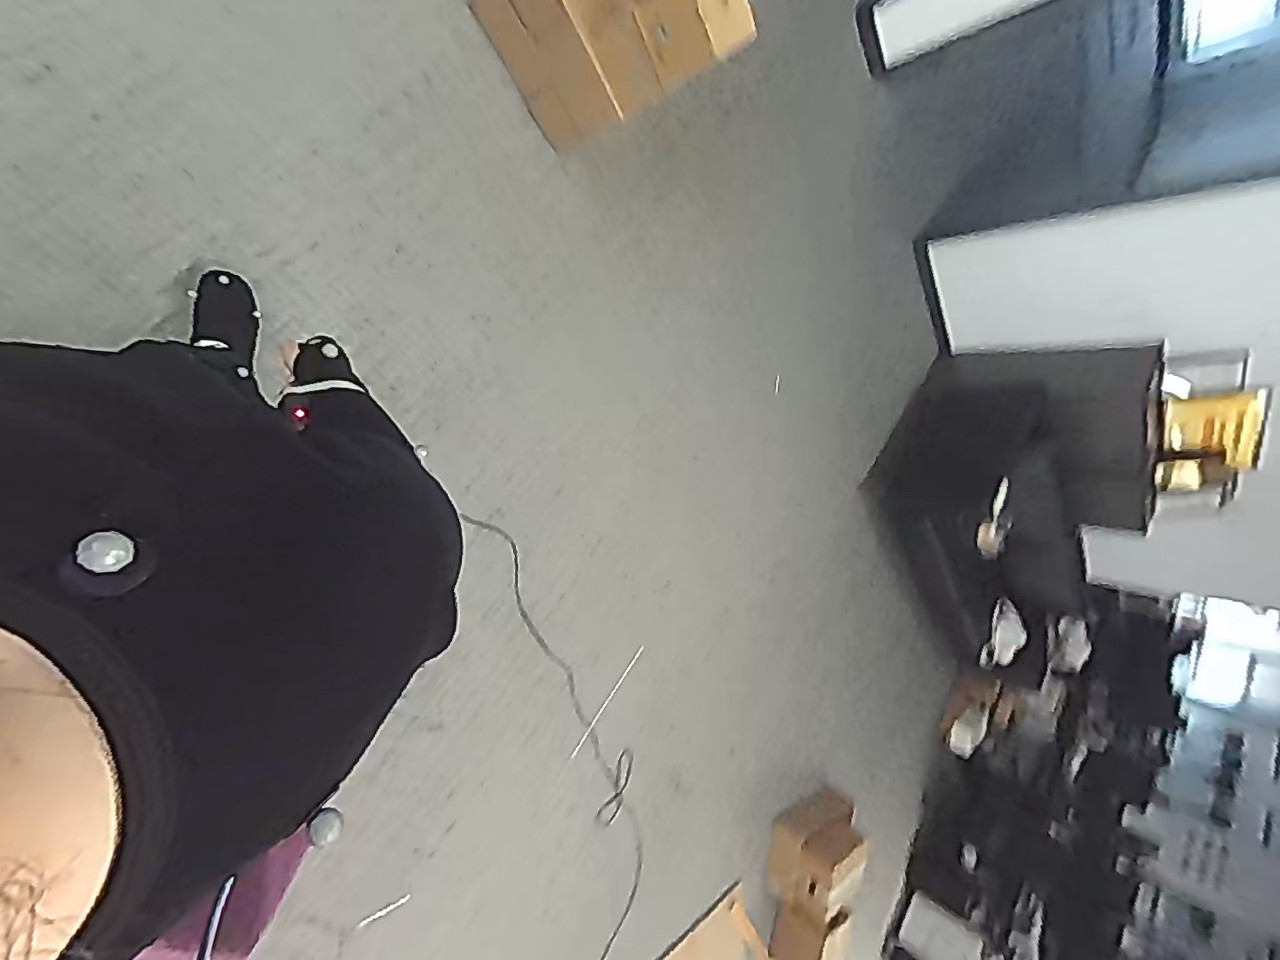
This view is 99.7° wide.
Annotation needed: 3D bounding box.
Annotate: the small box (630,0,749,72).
[{"bbox_3d":[0.110,-1.063,1.209,0.179,0.176,0.168,-51,128,-24],"label":"small box"}]
